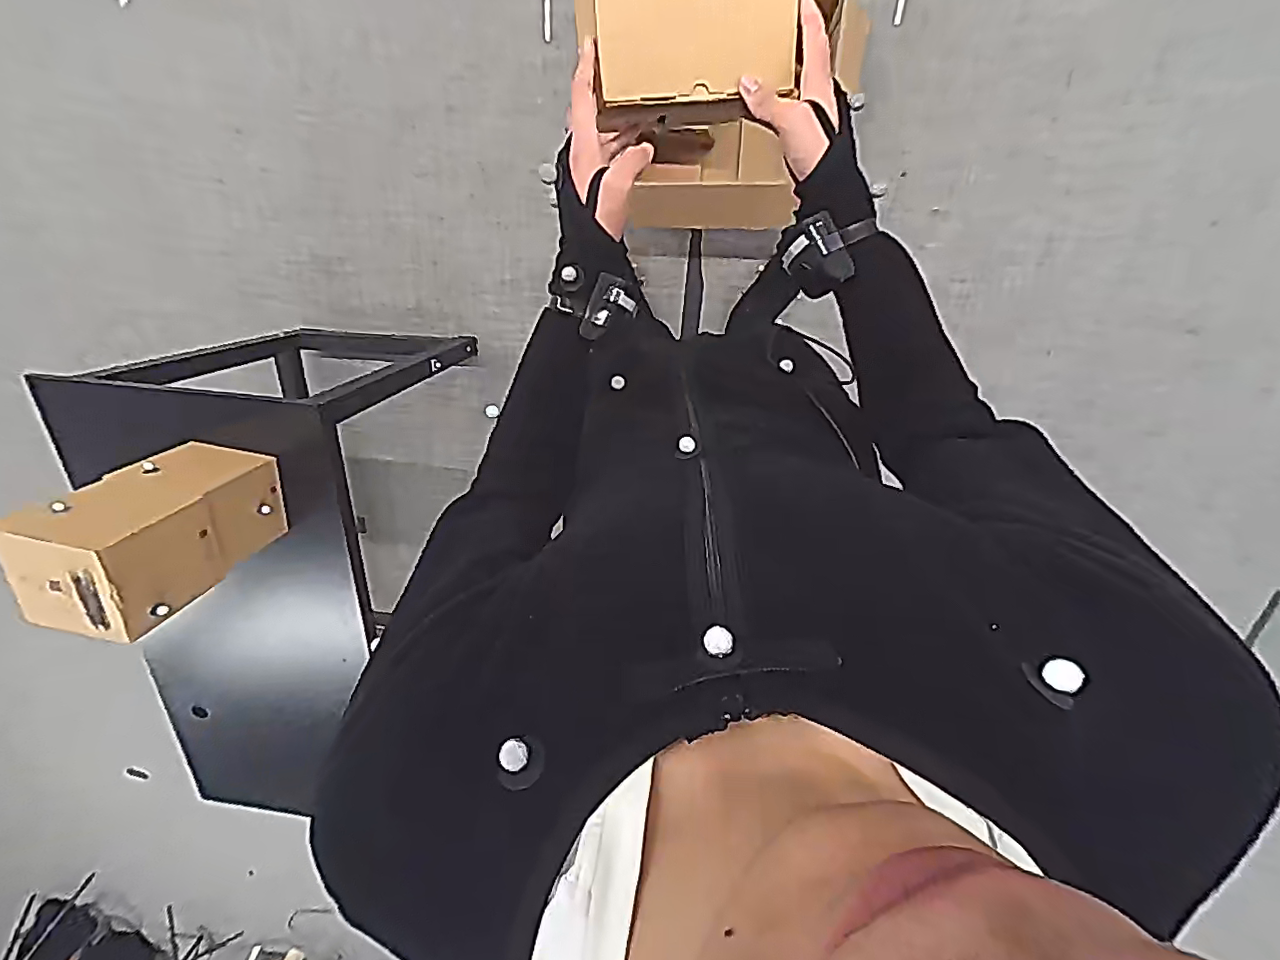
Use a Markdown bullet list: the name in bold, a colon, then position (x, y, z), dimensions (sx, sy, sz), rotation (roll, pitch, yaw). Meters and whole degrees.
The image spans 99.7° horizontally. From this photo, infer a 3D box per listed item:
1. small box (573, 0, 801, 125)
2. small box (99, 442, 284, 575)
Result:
- **small box**: position (0.030, -0.428, 0.469), dimensions (0.168, 0.176, 0.179), rotation (-8, 117, -6)
- **small box**: position (-0.791, 0.043, 0.974), dimensions (0.179, 0.176, 0.168), rotation (11, 116, 4)
